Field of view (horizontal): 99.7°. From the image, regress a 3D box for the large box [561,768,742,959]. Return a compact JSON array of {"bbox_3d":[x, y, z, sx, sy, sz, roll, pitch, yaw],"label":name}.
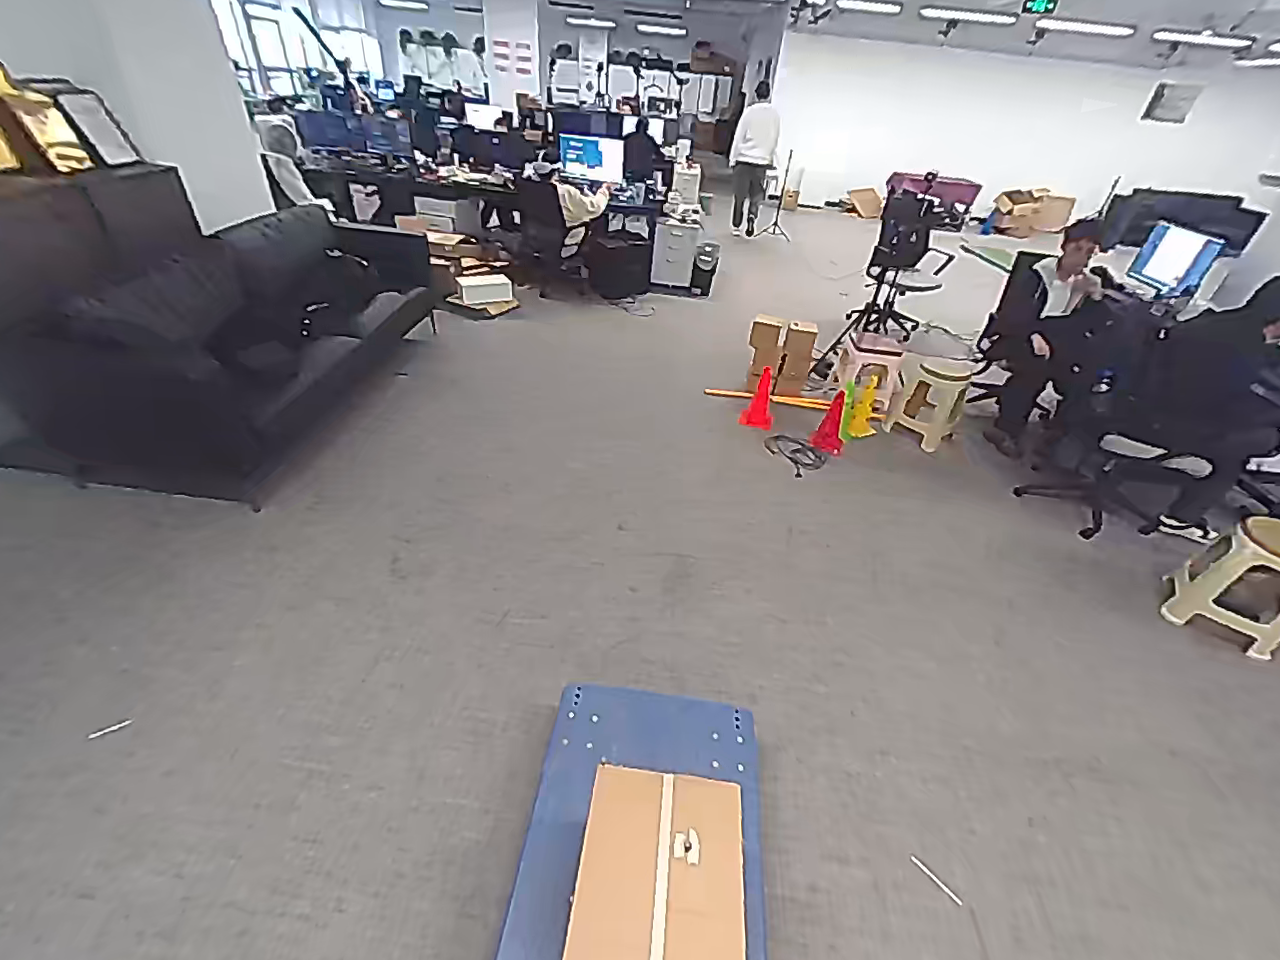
[{"bbox_3d":[0.021,0.878,1.095,0.320,0.320,0.408,8,35,2],"label":"large box"}]
